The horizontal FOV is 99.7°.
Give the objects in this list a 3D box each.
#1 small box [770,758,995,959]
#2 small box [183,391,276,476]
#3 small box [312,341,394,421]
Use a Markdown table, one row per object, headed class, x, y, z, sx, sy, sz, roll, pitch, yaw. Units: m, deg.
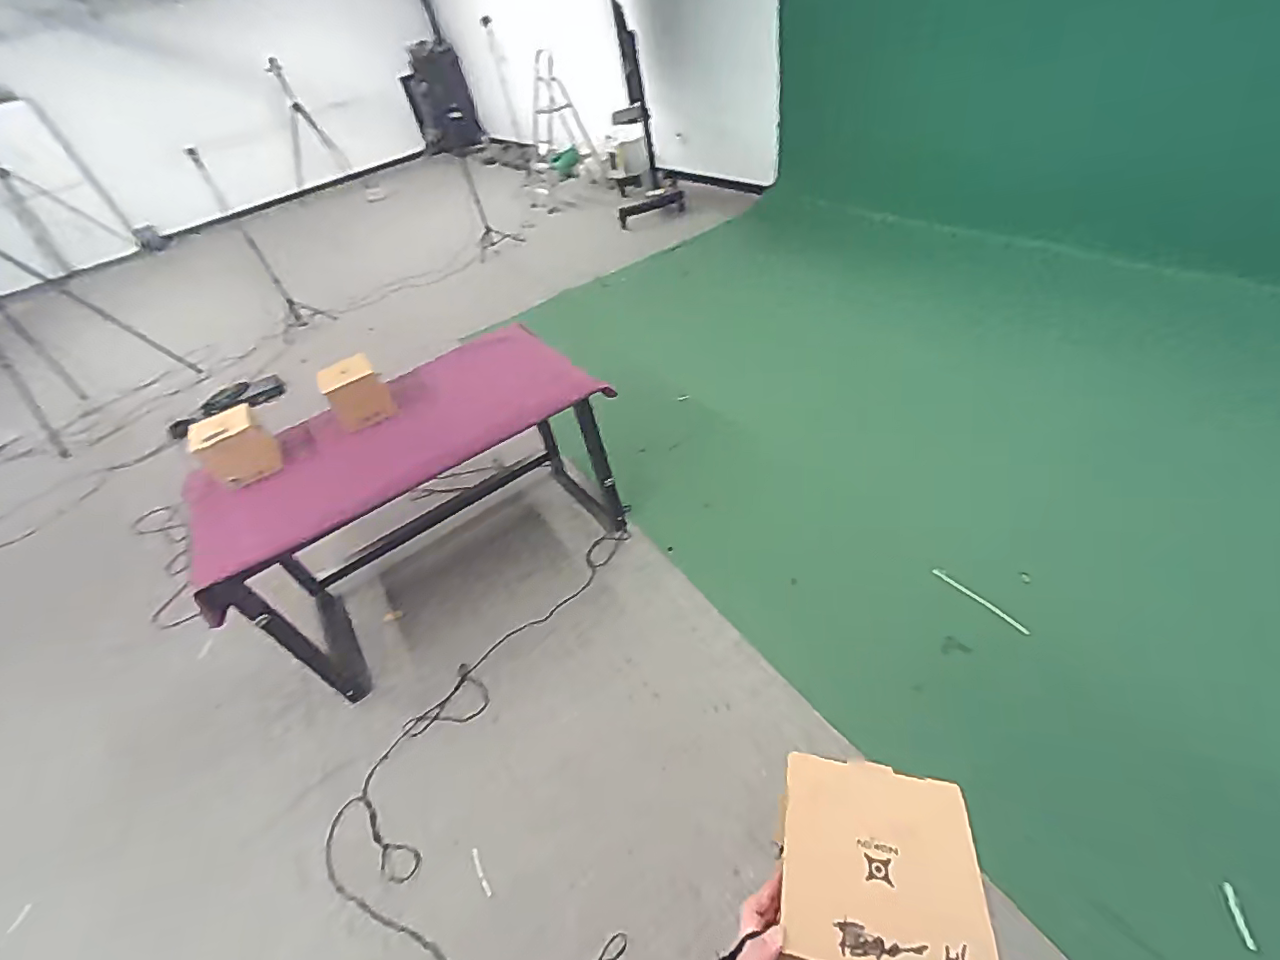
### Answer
| class | x | y | z | sx | sy | sz | roll | pitch | yaw |
| --- | --- | --- | --- | --- | --- | --- | --- | --- | --- |
| small box | 0.218 | 0.414 | 0.527 | 0.168 | 0.176 | 0.179 | 5 | 35 | 14 |
| small box | -1.240 | -0.135 | 1.641 | 0.168 | 0.176 | 0.179 | -30 | 47 | -18 |
| small box | -0.936 | -0.321 | 1.766 | 0.168 | 0.176 | 0.179 | -29 | 47 | -16 |
